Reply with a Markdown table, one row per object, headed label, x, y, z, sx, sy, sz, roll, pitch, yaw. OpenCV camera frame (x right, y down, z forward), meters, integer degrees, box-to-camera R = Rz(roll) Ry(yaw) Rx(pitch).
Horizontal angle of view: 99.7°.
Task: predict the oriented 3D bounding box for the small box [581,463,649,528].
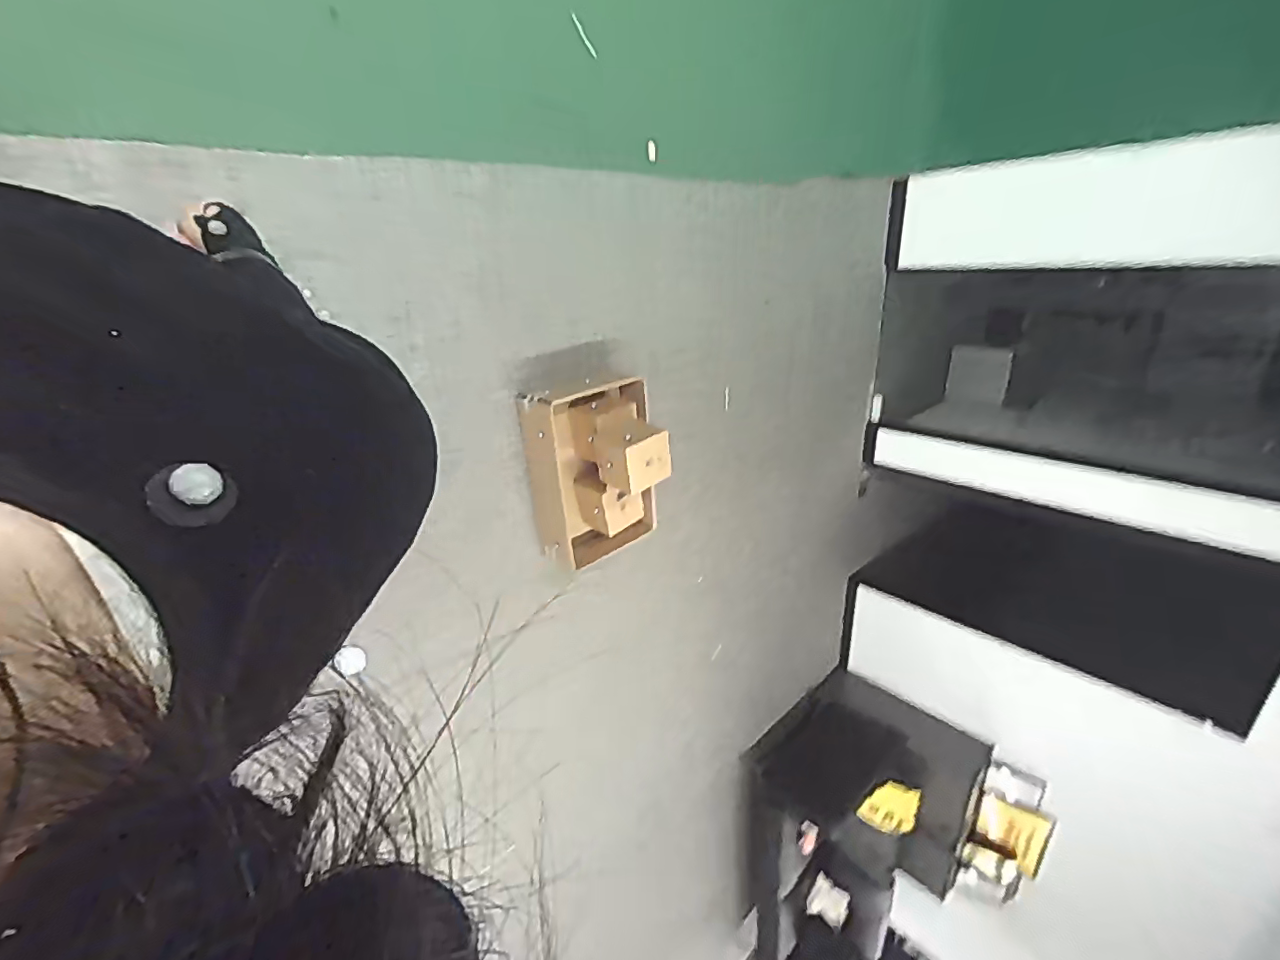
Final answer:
| label | x | y | z | sx | sy | sz | roll | pitch | yaw |
| --- | --- | --- | --- | --- | --- | --- | --- | --- | --- |
| small box | -0.092 | 0.042 | 1.943 | 0.168 | 0.176 | 0.179 | -30 | 124 | -31 |

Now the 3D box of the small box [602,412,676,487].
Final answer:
| label | x | y | z | sx | sy | sz | roll | pitch | yaw |
| --- | --- | --- | --- | --- | --- | --- | --- | --- | --- |
| small box | -0.008 | -0.103 | 1.734 | 0.179 | 0.176 | 0.168 | -27 | 126 | -31 |

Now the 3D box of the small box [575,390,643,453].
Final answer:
| label | x | y | z | sx | sy | sz | roll | pitch | yaw |
| --- | --- | --- | --- | --- | --- | --- | --- | --- | --- |
| small box | -0.104 | -0.200 | 1.837 | 0.168 | 0.176 | 0.179 | -26 | 124 | -32 |
